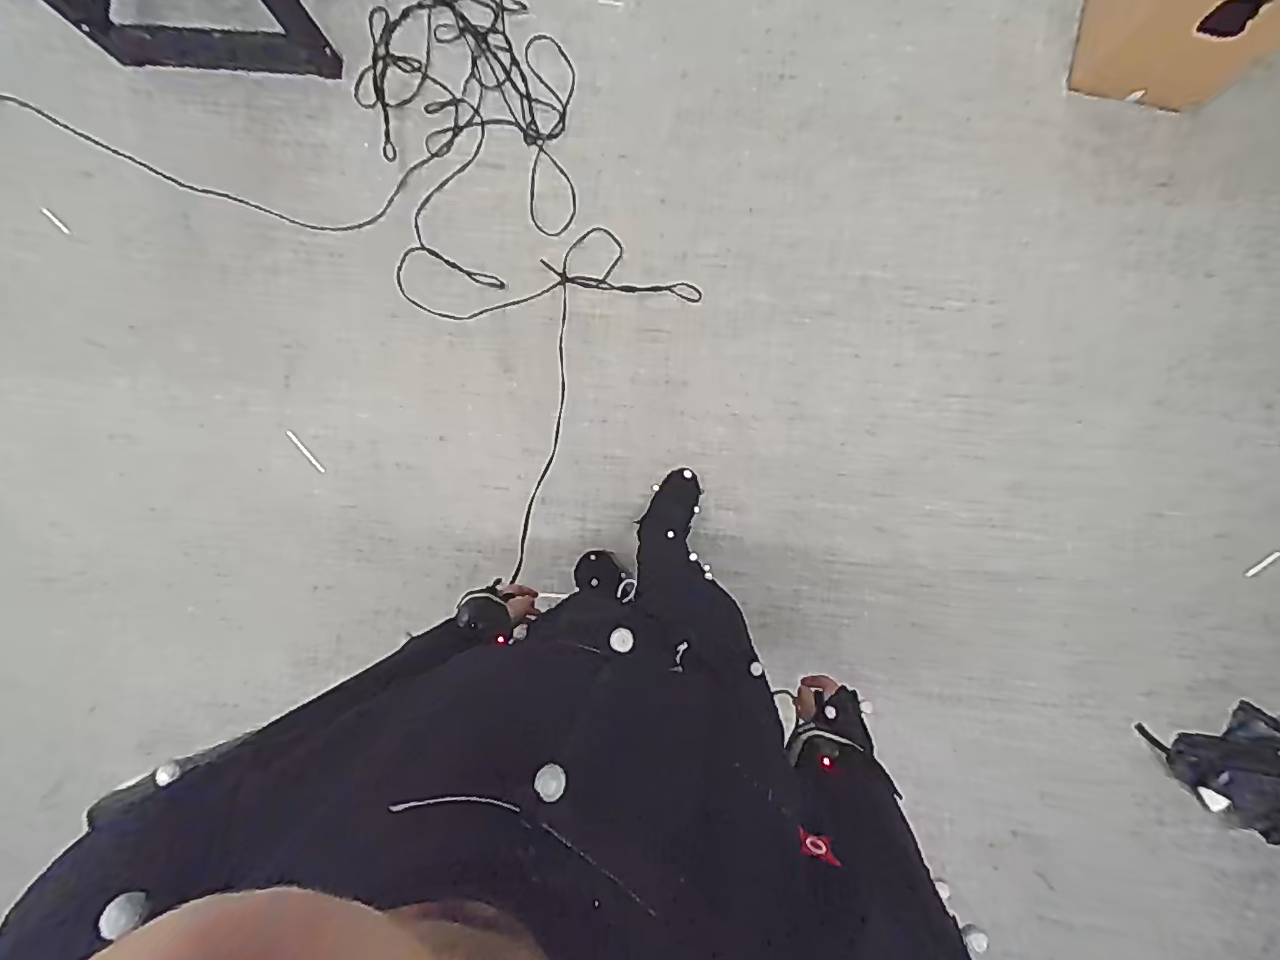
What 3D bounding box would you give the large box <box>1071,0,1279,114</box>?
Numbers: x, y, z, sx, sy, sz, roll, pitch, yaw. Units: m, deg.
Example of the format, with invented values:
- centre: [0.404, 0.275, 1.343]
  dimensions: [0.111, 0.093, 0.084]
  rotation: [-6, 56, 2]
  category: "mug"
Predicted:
- centre: [1.269, -1.146, 1.221]
  dimensions: [0.320, 0.320, 0.408]
  rotation: [11, 90, 1]
  category: "large box"
